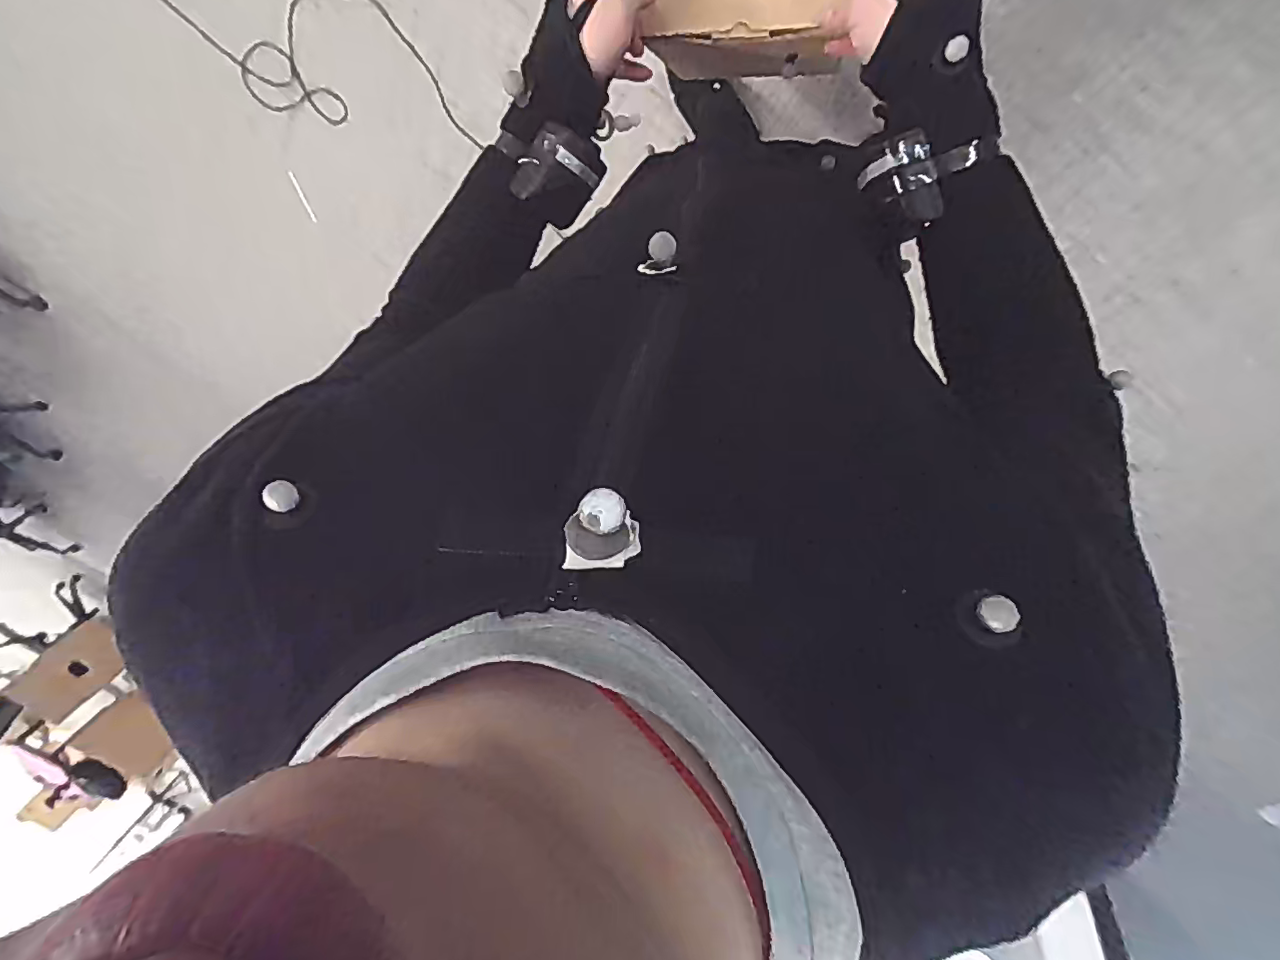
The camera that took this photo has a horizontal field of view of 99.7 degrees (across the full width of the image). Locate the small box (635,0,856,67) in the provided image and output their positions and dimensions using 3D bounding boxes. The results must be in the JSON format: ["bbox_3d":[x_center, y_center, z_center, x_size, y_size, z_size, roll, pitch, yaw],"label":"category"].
[{"bbox_3d":[0.098,-0.451,0.432,0.168,0.176,0.179,8,118,14],"label":"small box"}]
